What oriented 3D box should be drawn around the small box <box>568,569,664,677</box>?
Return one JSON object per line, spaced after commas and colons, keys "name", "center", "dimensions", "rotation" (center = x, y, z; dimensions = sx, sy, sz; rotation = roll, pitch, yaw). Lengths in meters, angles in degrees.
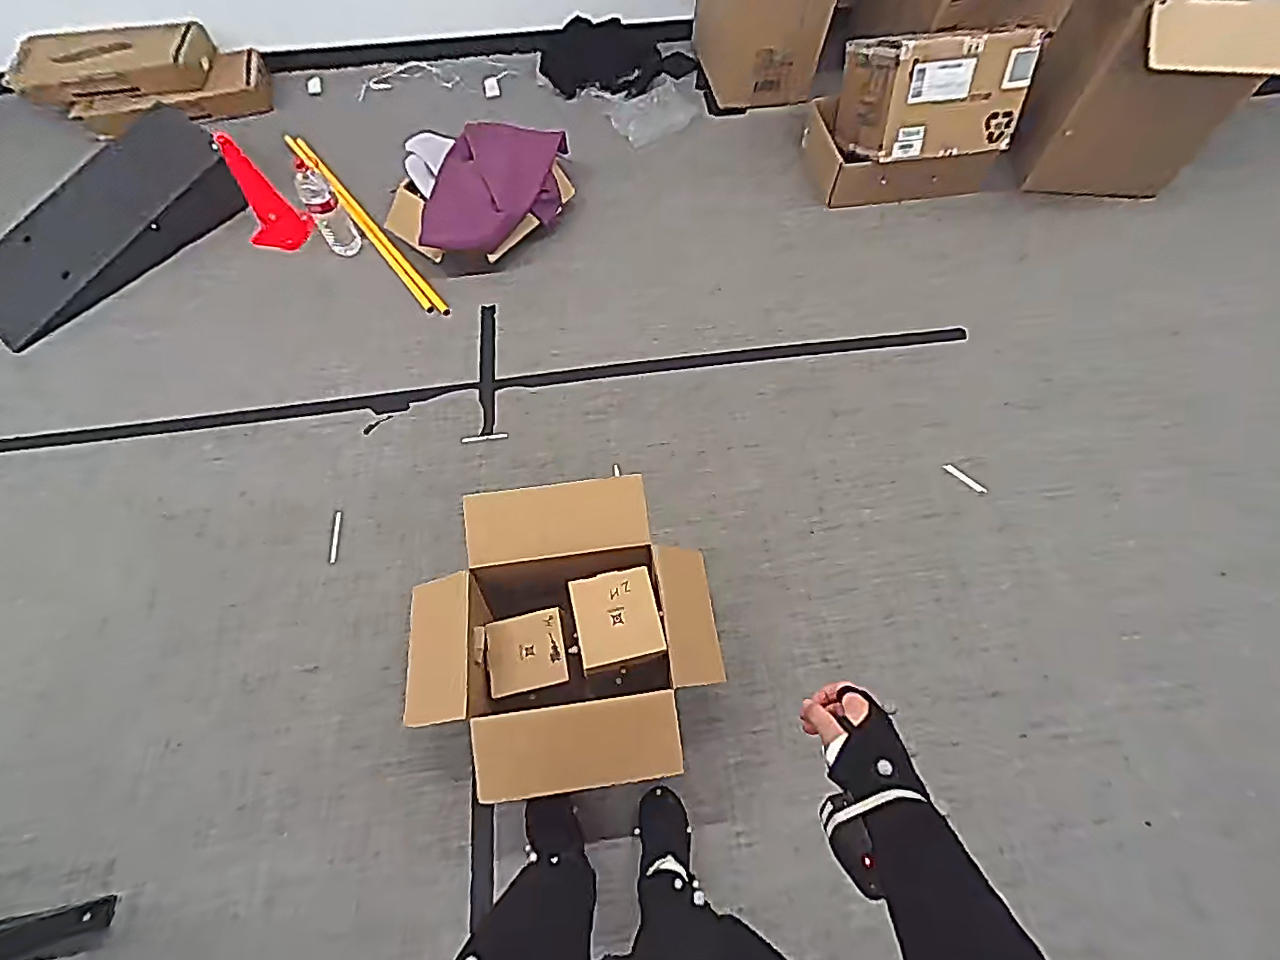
{"name": "small box", "center": [-0.053, 0.308, 1.141], "dimensions": [0.168, 0.176, 0.179], "rotation": [-11, 65, -9]}
